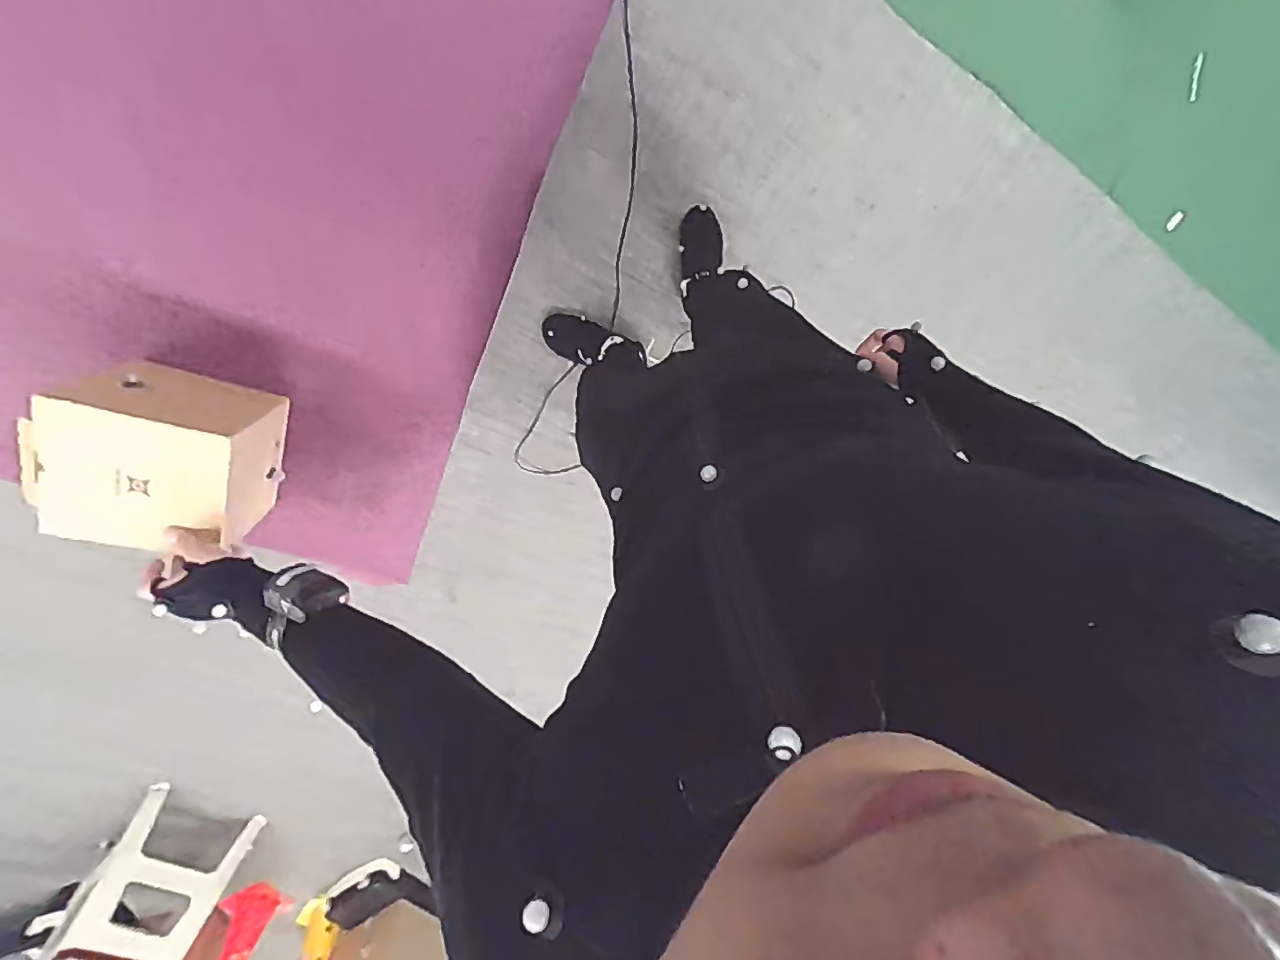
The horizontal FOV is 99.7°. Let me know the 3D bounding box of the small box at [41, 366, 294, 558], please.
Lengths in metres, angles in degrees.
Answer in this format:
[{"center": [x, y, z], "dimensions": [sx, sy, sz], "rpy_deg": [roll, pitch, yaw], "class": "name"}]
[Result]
[{"center": [-0.568, -0.030, 0.670], "dimensions": [0.179, 0.176, 0.168], "rpy_deg": [15, 111, -17], "class": "small box"}]
